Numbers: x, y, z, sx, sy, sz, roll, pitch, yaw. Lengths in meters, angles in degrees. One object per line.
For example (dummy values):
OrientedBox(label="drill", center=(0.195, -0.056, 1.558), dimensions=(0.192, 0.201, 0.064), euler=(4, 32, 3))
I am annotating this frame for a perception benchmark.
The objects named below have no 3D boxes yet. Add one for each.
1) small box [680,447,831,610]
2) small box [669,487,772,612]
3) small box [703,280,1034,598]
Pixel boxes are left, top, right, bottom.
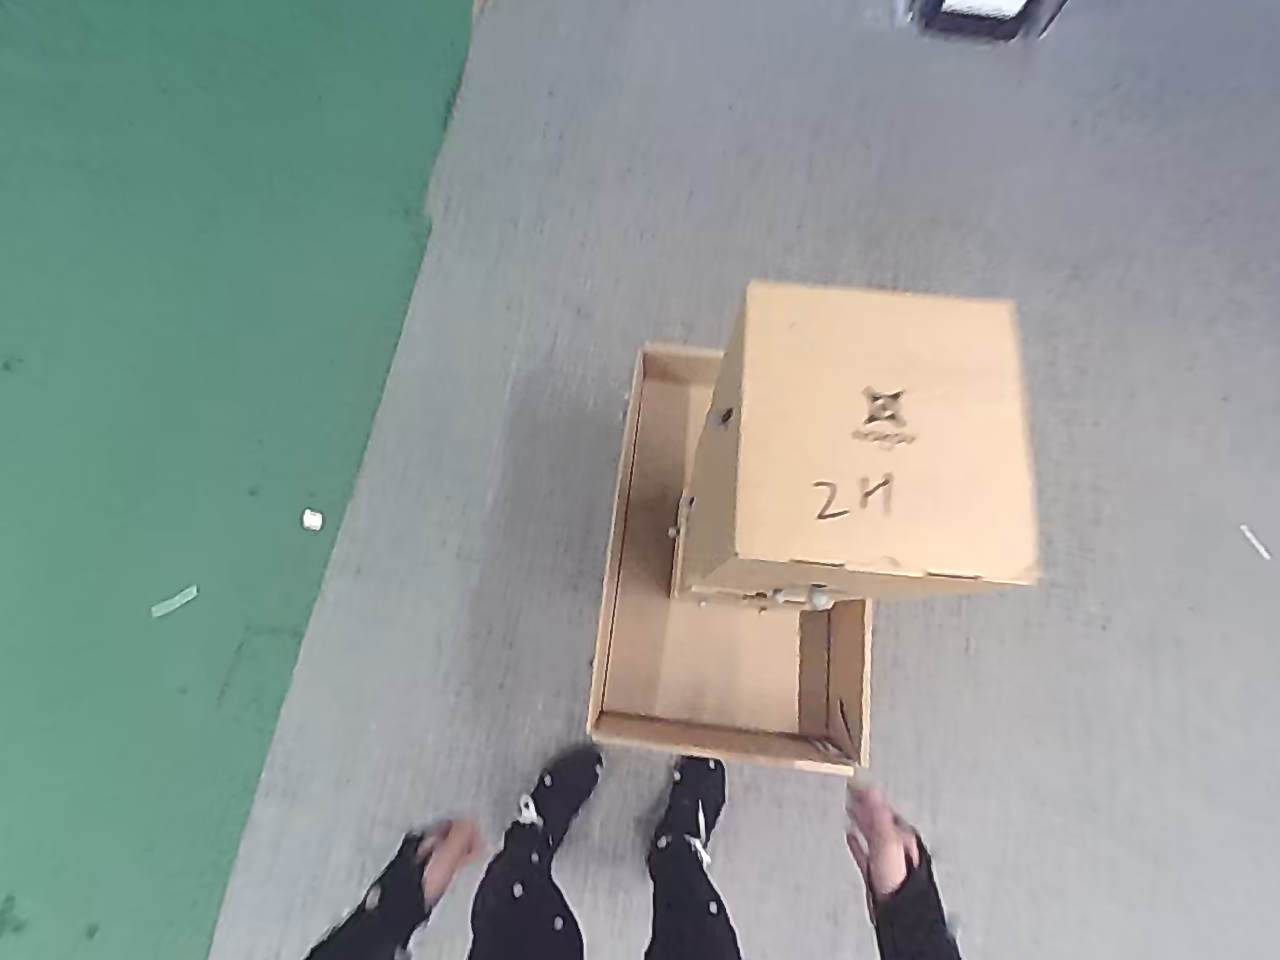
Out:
OrientedBox(label="small box", center=(0.146, 0.073, 0.711), dimensions=(0.168, 0.176, 0.179), euler=(7, 75, 1))
OrientedBox(label="small box", center=(0.142, 0.118, 0.868), dimensions=(0.179, 0.176, 0.168), euler=(6, 75, 1))
OrientedBox(label="small box", center=(0.140, -0.014, 0.393), dimensions=(0.168, 0.176, 0.179), euler=(5, 75, 2))
